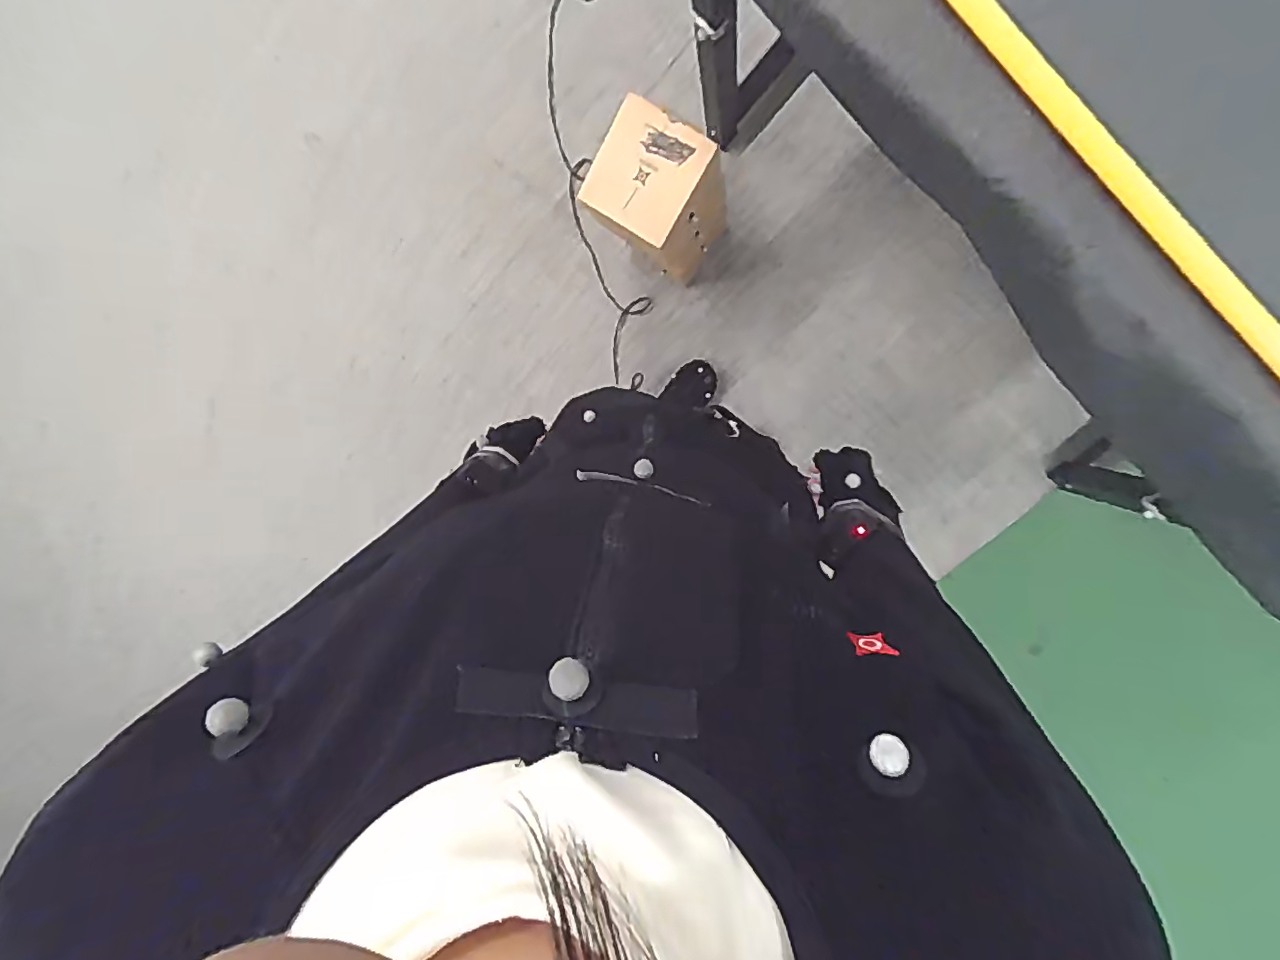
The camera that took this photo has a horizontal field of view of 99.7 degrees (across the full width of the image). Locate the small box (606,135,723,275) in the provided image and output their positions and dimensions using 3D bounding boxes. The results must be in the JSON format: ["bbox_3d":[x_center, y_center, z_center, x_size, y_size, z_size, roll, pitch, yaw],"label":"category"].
[{"bbox_3d":[0.059,-0.541,1.092,0.168,0.176,0.179,30,103,6],"label":"small box"}]
